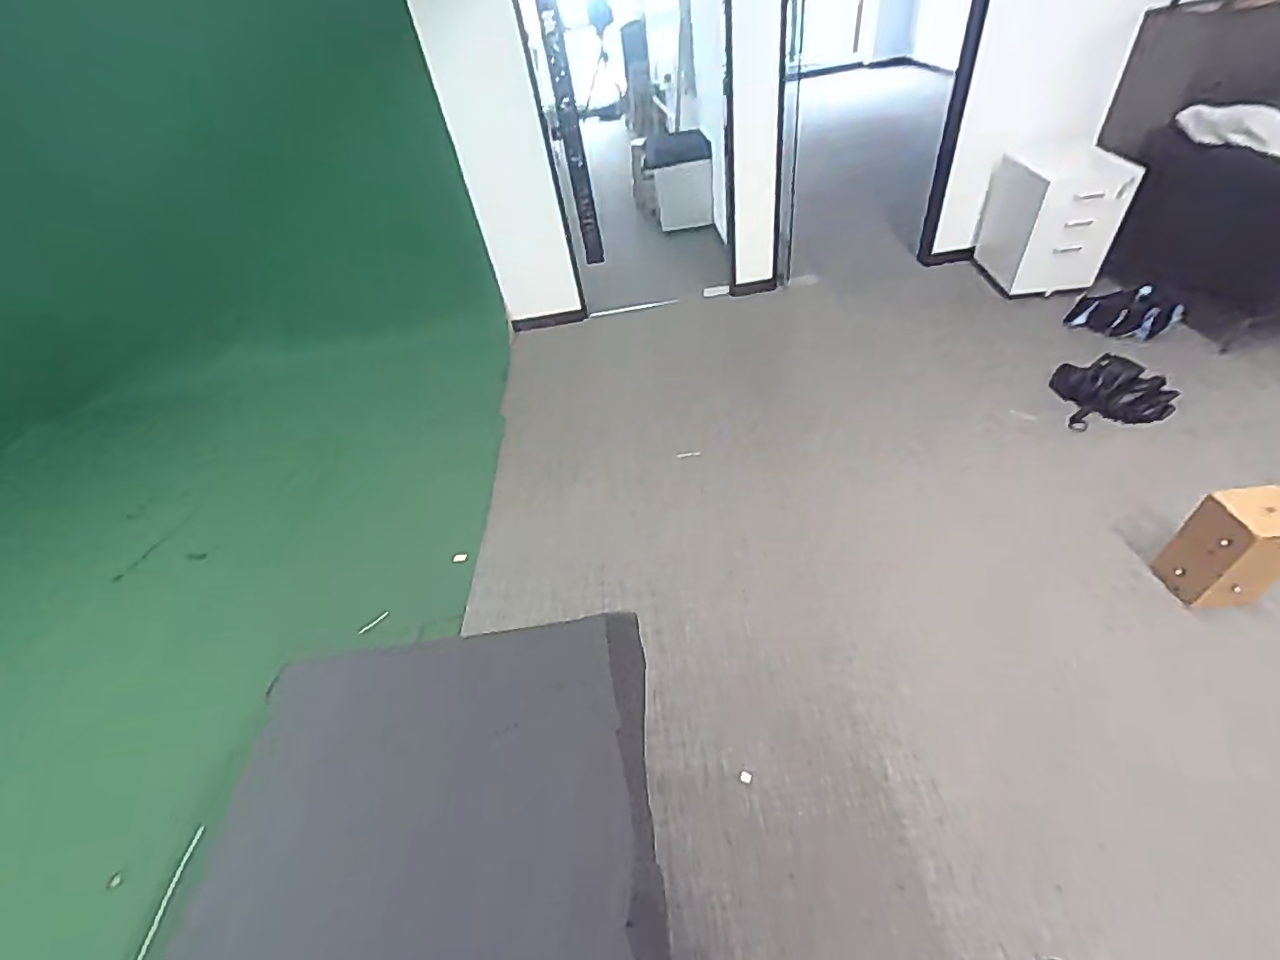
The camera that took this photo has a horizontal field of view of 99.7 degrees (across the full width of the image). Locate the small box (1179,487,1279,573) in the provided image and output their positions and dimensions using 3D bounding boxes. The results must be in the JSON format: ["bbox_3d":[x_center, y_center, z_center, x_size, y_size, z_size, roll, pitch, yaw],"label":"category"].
[{"bbox_3d":[1.662,0.142,1.496,0.179,0.176,0.168,-6,44,3],"label":"small box"}]

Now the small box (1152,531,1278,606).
[{"bbox_3d":[1.685,0.259,1.606,0.179,0.176,0.168,-8,43,4],"label":"small box"}]
